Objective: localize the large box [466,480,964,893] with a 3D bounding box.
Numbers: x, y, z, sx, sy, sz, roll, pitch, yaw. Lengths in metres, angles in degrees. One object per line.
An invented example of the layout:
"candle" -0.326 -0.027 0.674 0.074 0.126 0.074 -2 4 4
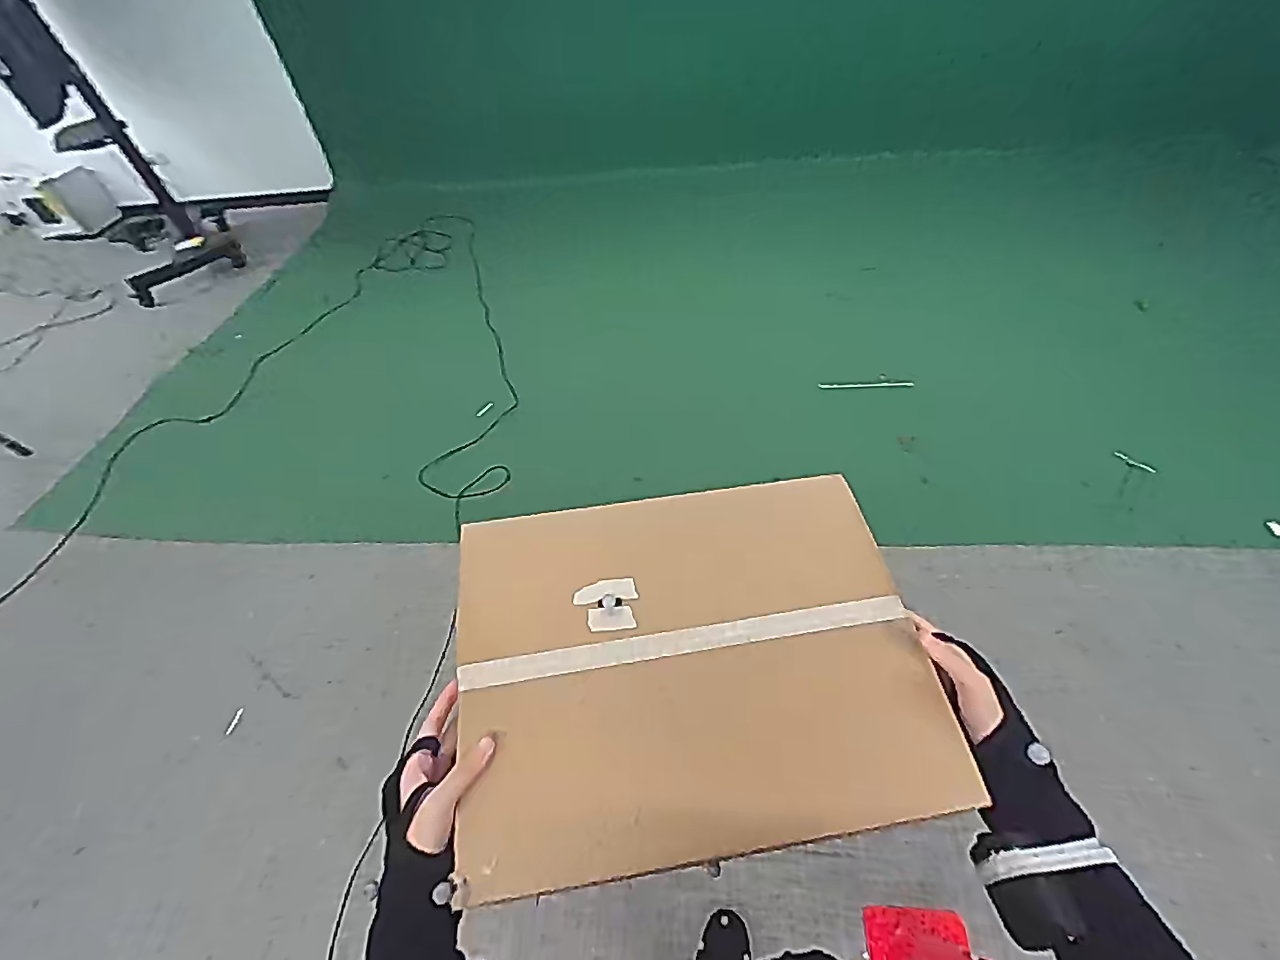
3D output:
"large box" 0.047 0.232 0.621 0.408 0.320 0.320 -7 57 -4
